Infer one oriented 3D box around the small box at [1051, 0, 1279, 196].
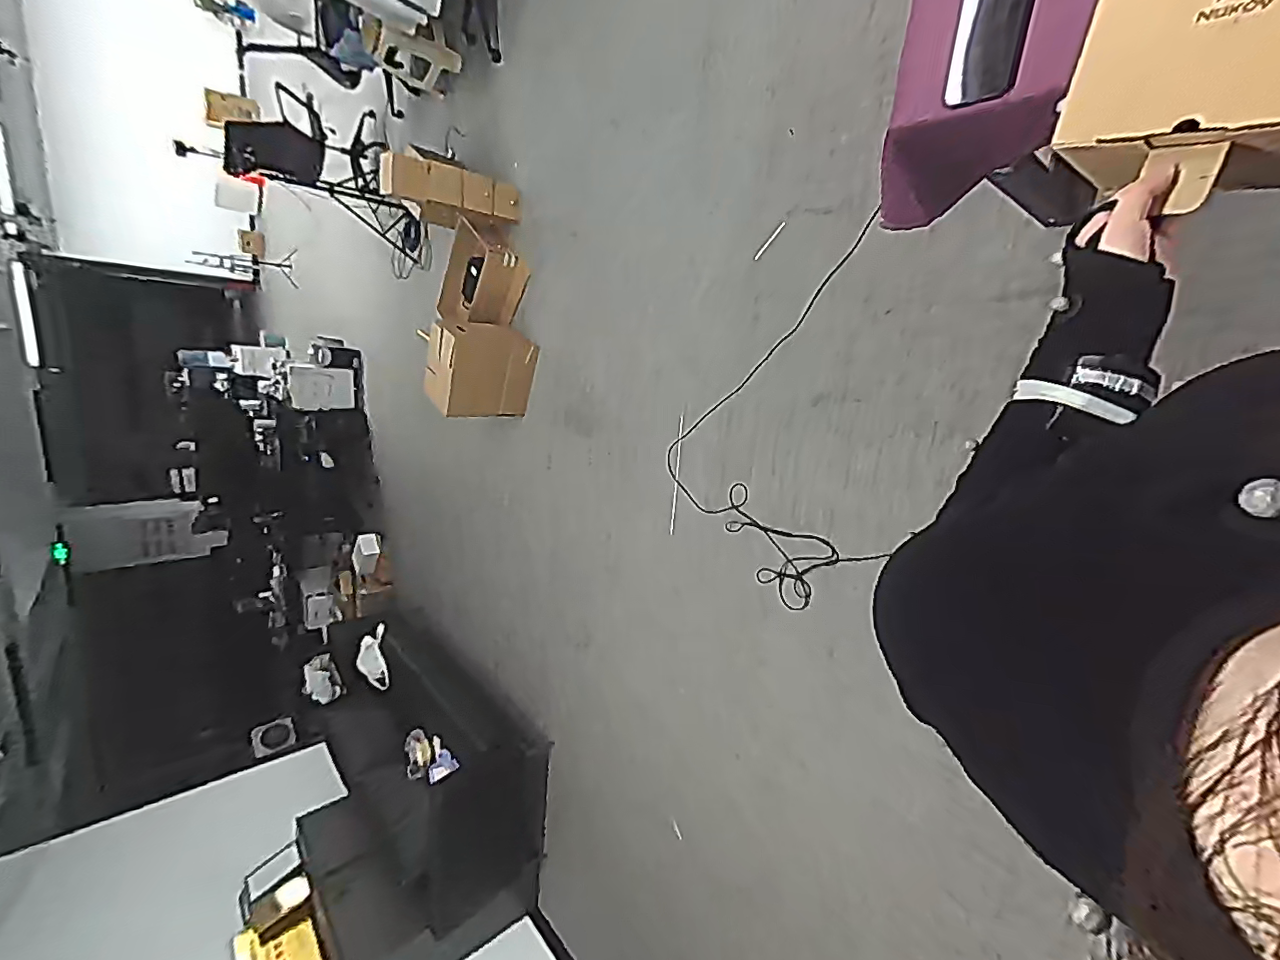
[{"bbox_3d":[0.464,-0.334,0.415,0.168,0.176,0.179,30,119,46],"label":"small box"}]
